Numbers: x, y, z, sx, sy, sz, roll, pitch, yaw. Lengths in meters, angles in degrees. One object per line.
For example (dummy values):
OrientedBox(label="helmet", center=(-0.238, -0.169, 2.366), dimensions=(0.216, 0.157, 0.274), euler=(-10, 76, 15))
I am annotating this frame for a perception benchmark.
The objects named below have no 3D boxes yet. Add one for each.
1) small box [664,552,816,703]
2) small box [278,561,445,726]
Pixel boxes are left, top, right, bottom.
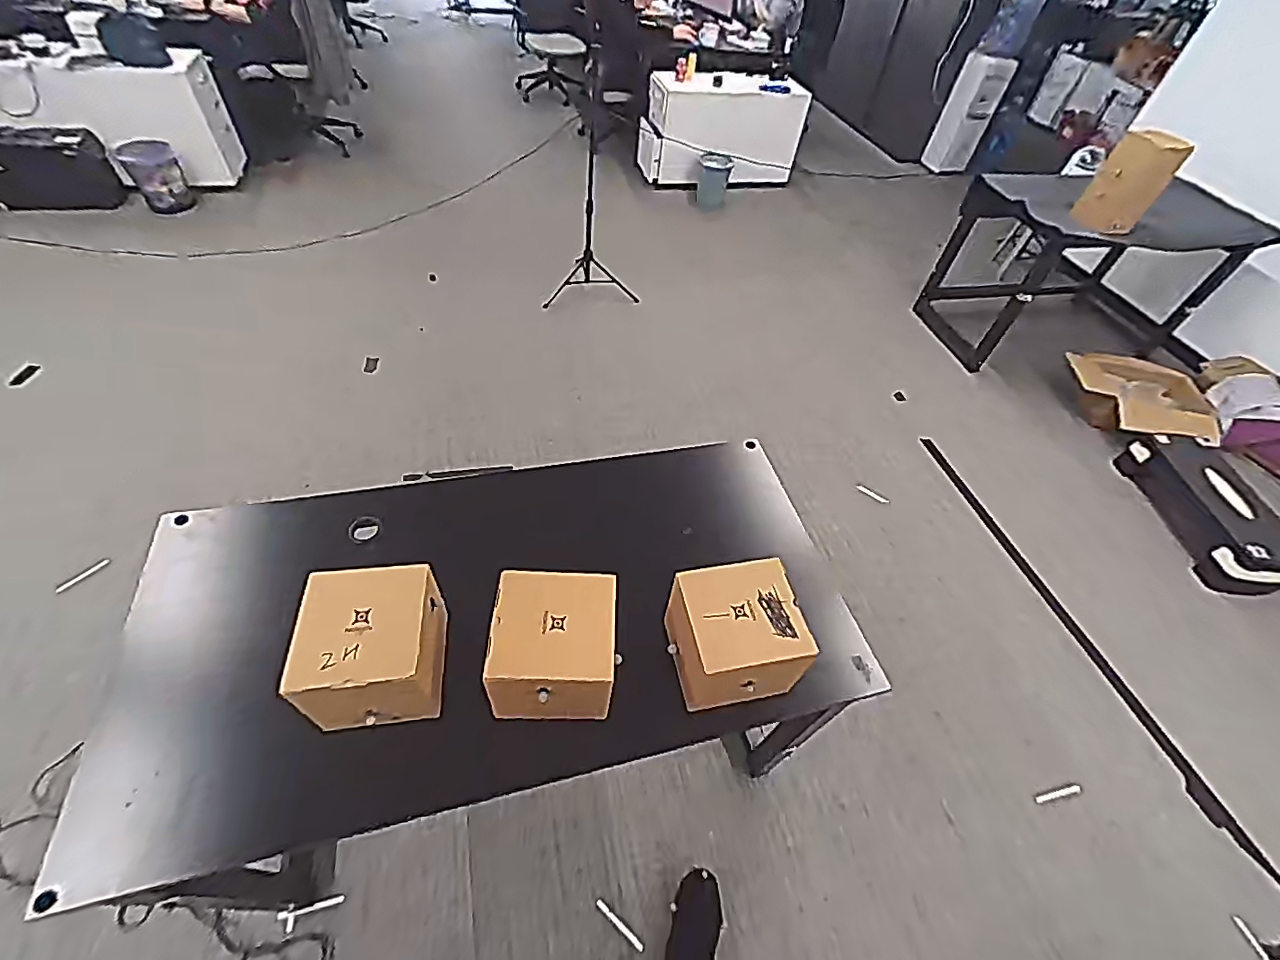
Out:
OrientedBox(label="small box", center=(0.147, 0.238, 0.867), dimensions=(0.179, 0.176, 0.168), euler=(-7, 51, -11))
OrientedBox(label="small box", center=(-0.393, 0.242, 0.801), dimensions=(0.168, 0.176, 0.179), euler=(-4, 52, -9))
